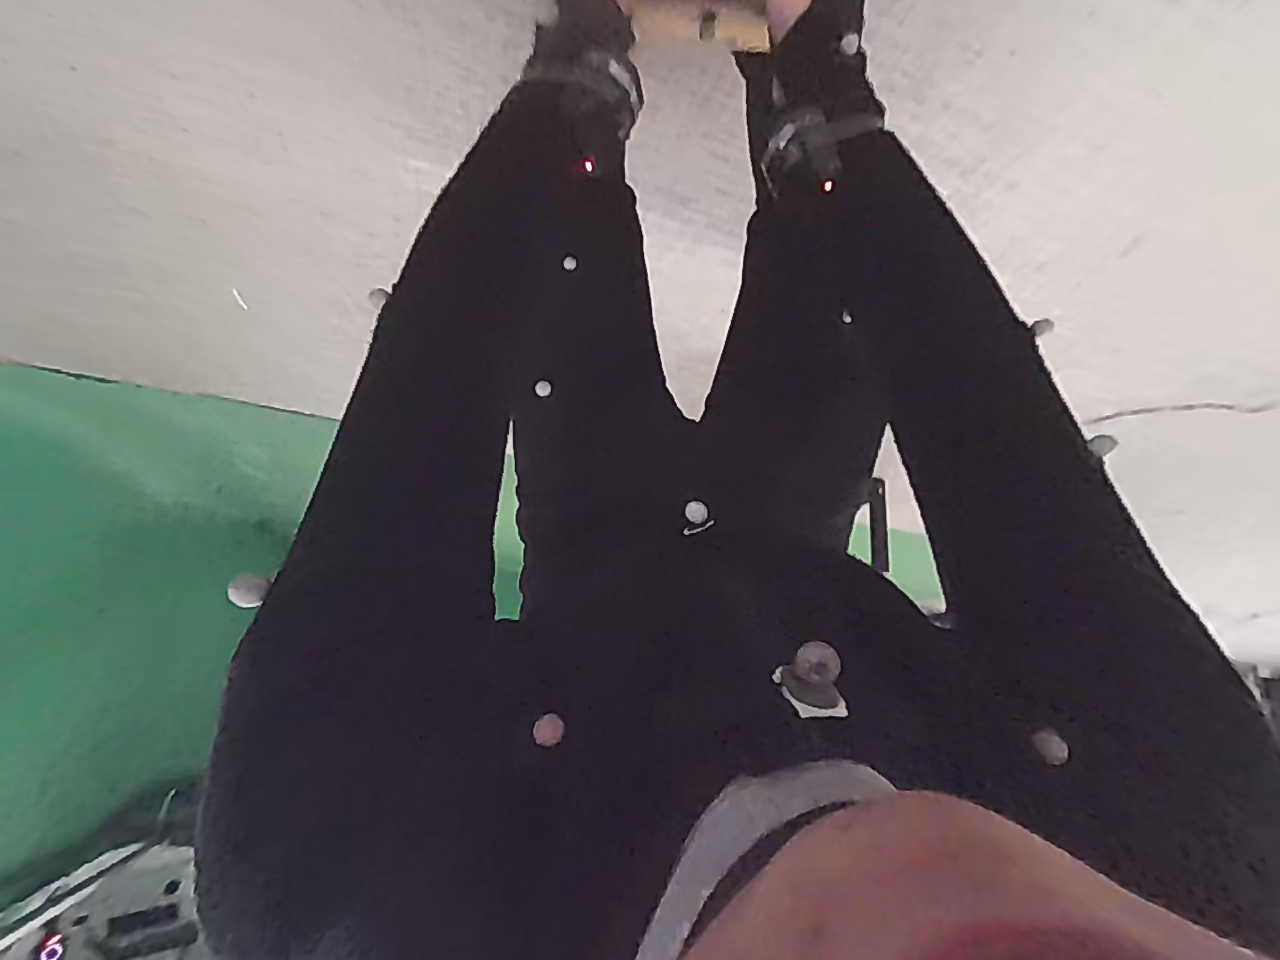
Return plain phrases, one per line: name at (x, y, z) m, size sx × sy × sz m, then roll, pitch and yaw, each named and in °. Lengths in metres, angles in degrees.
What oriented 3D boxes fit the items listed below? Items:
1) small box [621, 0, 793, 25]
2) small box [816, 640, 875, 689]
small box at (0.056, -0.491, 0.421) m, size 0.168 × 0.179 × 0.176 m, roll 6°, pitch -157°, yaw 5°
small box at (0.843, 0.753, 2.217) m, size 0.168 × 0.176 × 0.179 m, roll 11°, pitch 160°, yaw -13°
